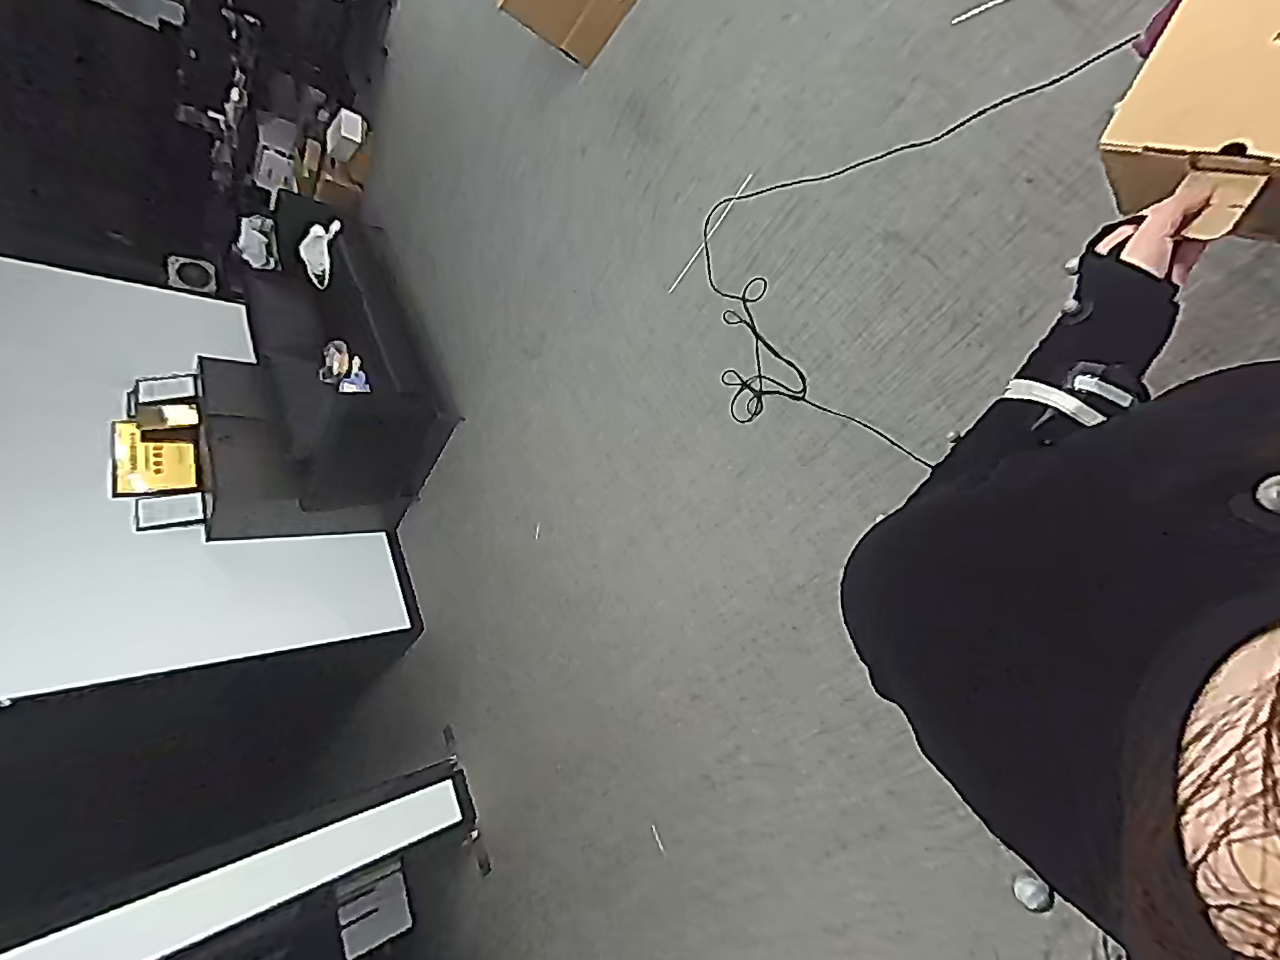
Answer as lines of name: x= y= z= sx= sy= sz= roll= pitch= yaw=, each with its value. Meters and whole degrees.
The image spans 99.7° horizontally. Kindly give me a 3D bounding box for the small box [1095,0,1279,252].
small box: x=0.503 y=-0.300 z=0.415 sx=0.168 sy=0.176 sz=0.179 roll=40 pitch=118 yaw=39
